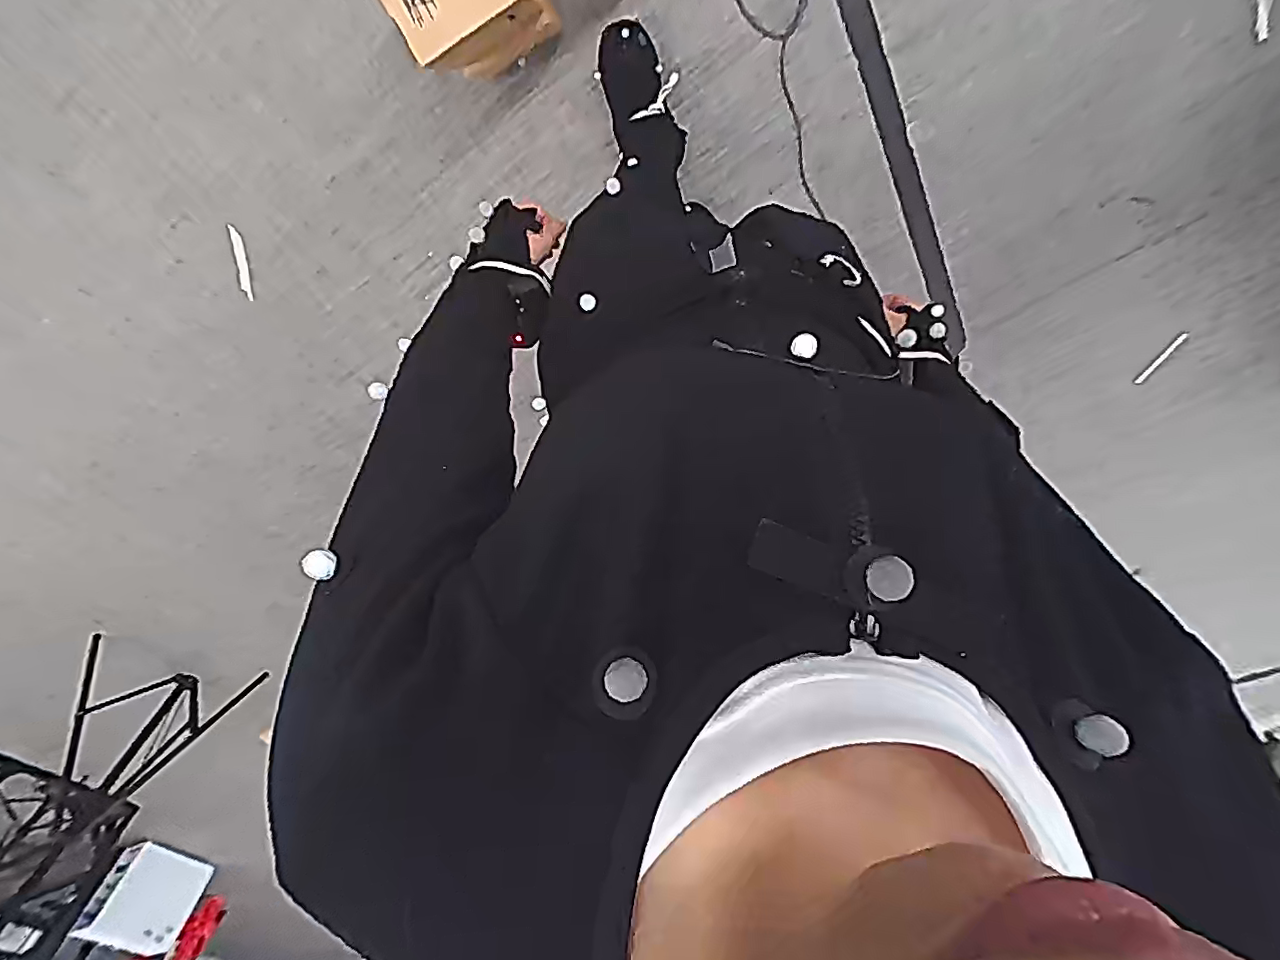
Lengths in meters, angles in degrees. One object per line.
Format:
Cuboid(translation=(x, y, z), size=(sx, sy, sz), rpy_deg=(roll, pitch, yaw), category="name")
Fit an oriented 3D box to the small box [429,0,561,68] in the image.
Cuboid(translation=(-0.245, -0.800, 0.869), size=(0.168, 0.176, 0.179), rpy_deg=(-21, 125, 16), category="small box")
